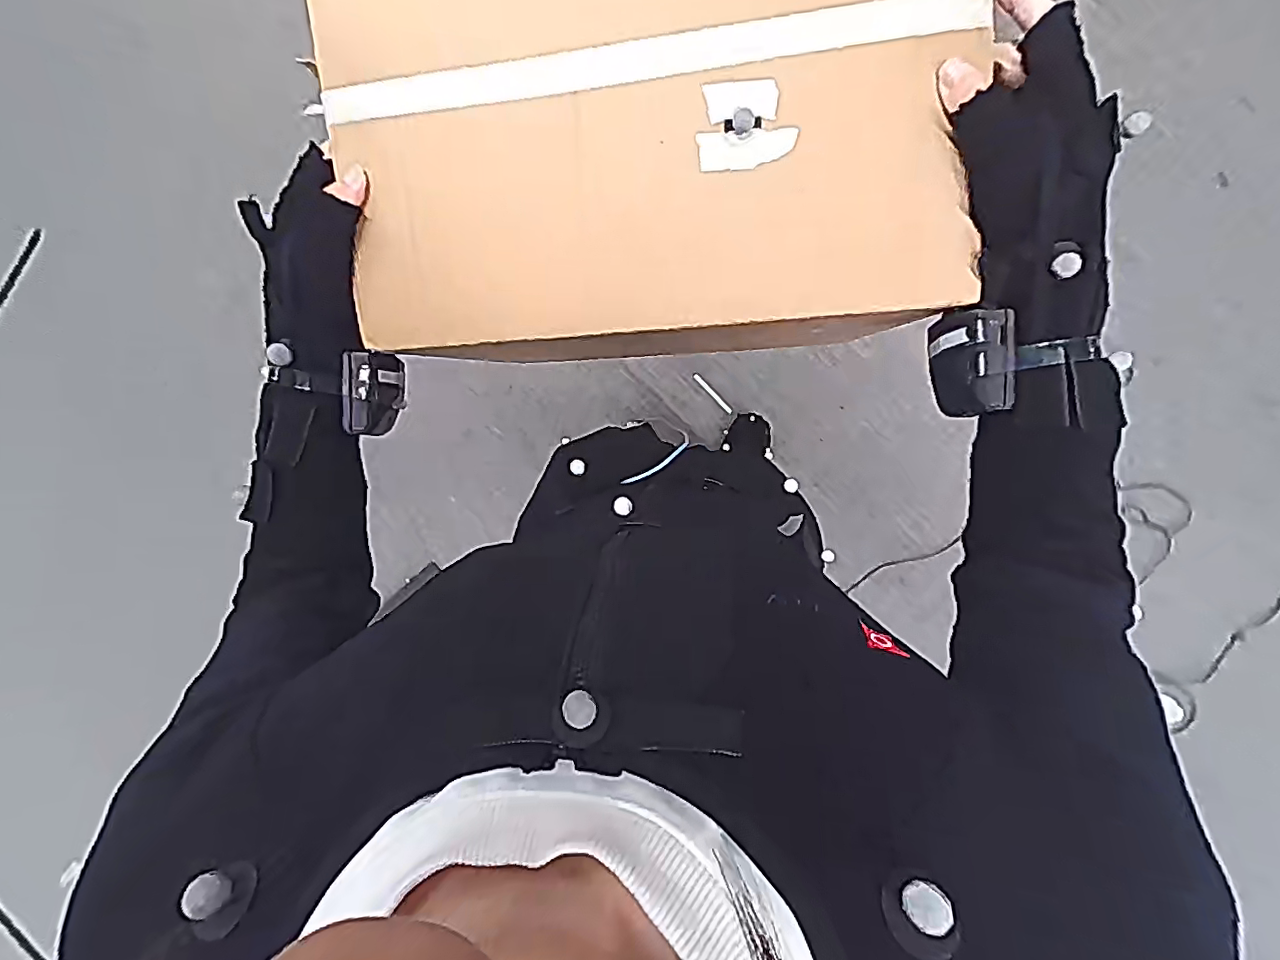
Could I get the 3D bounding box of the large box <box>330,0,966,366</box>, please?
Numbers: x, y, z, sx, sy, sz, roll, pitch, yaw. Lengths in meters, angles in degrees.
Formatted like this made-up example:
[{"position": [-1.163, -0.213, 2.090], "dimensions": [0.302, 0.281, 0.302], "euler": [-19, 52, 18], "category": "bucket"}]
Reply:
[{"position": [0.013, -0.284, 0.490], "dimensions": [0.408, 0.320, 0.320], "euler": [-3, 100, 8], "category": "large box"}]
